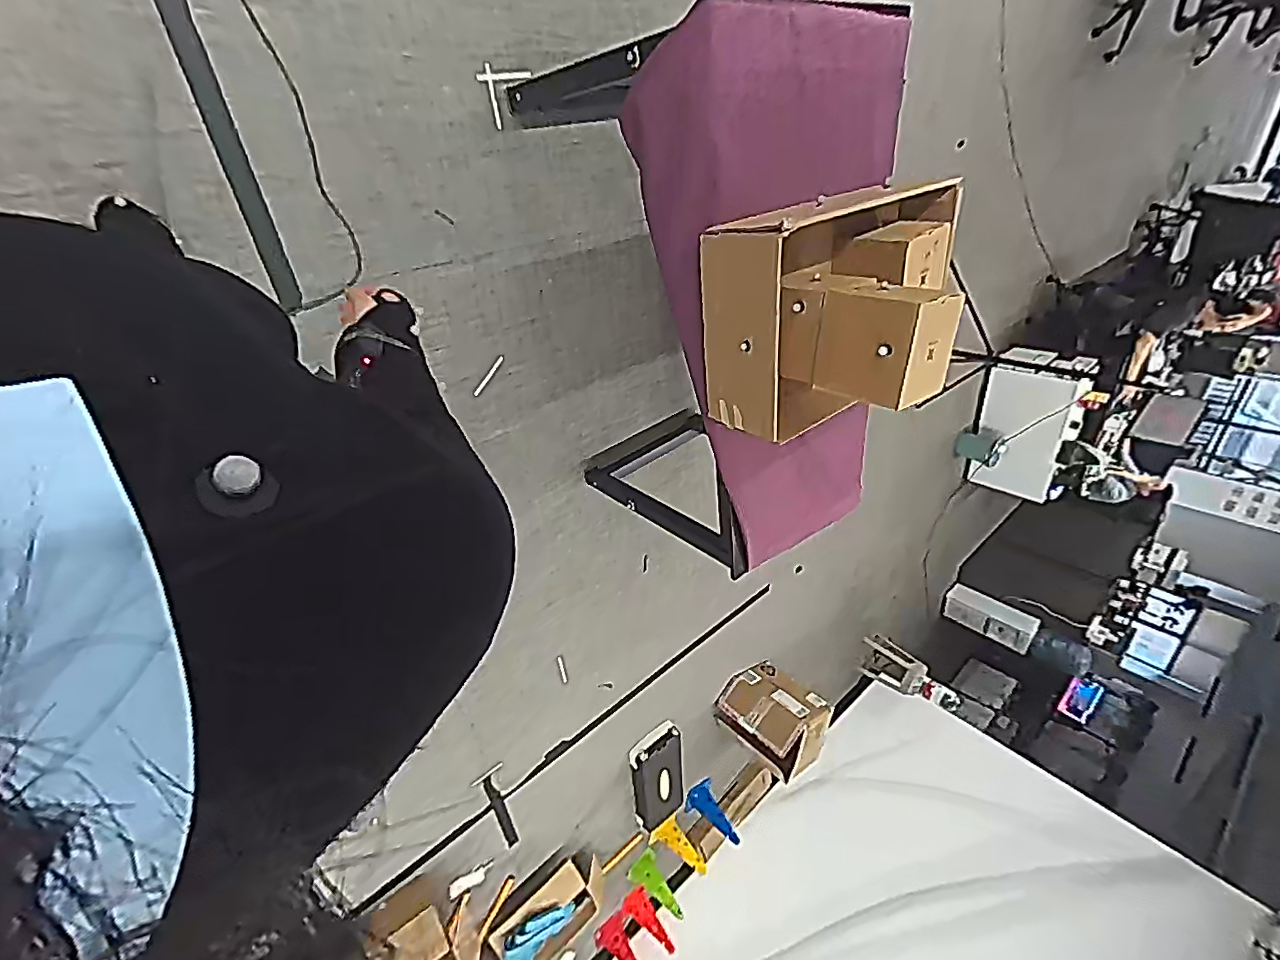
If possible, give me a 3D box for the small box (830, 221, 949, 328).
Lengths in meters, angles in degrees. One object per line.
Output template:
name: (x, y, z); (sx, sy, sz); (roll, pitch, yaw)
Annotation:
small box: (0.536, -0.454, 1.181); (0.168, 0.176, 0.179); (-30, 128, -28)
